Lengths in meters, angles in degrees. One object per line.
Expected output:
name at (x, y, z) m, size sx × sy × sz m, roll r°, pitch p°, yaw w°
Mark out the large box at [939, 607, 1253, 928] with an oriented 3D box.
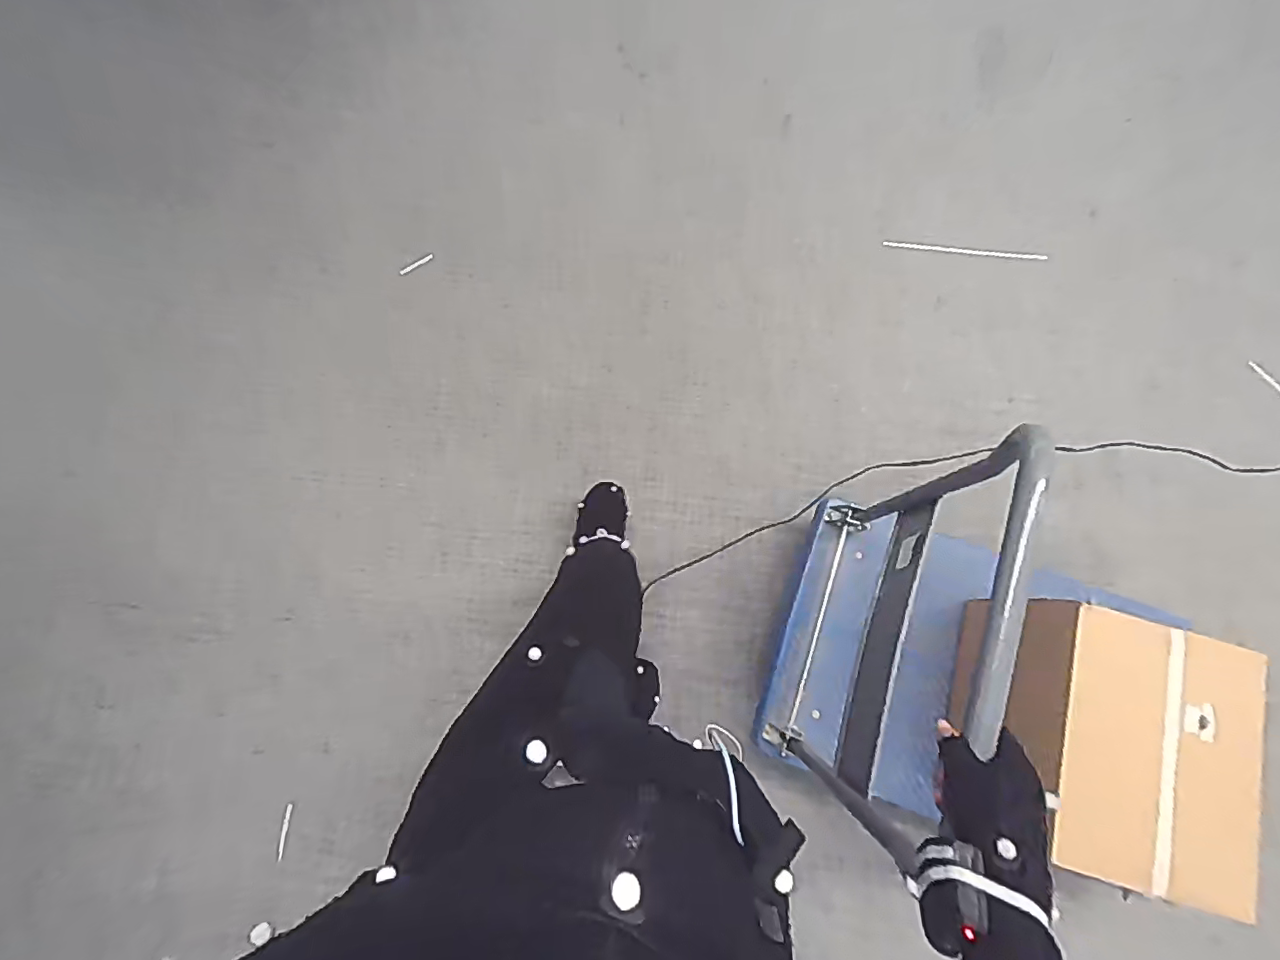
large box at (0.799, 0.472, 0.988) m, size 0.320 × 0.320 × 0.408 m, roll 16°, pitch 76°, yaw 1°
